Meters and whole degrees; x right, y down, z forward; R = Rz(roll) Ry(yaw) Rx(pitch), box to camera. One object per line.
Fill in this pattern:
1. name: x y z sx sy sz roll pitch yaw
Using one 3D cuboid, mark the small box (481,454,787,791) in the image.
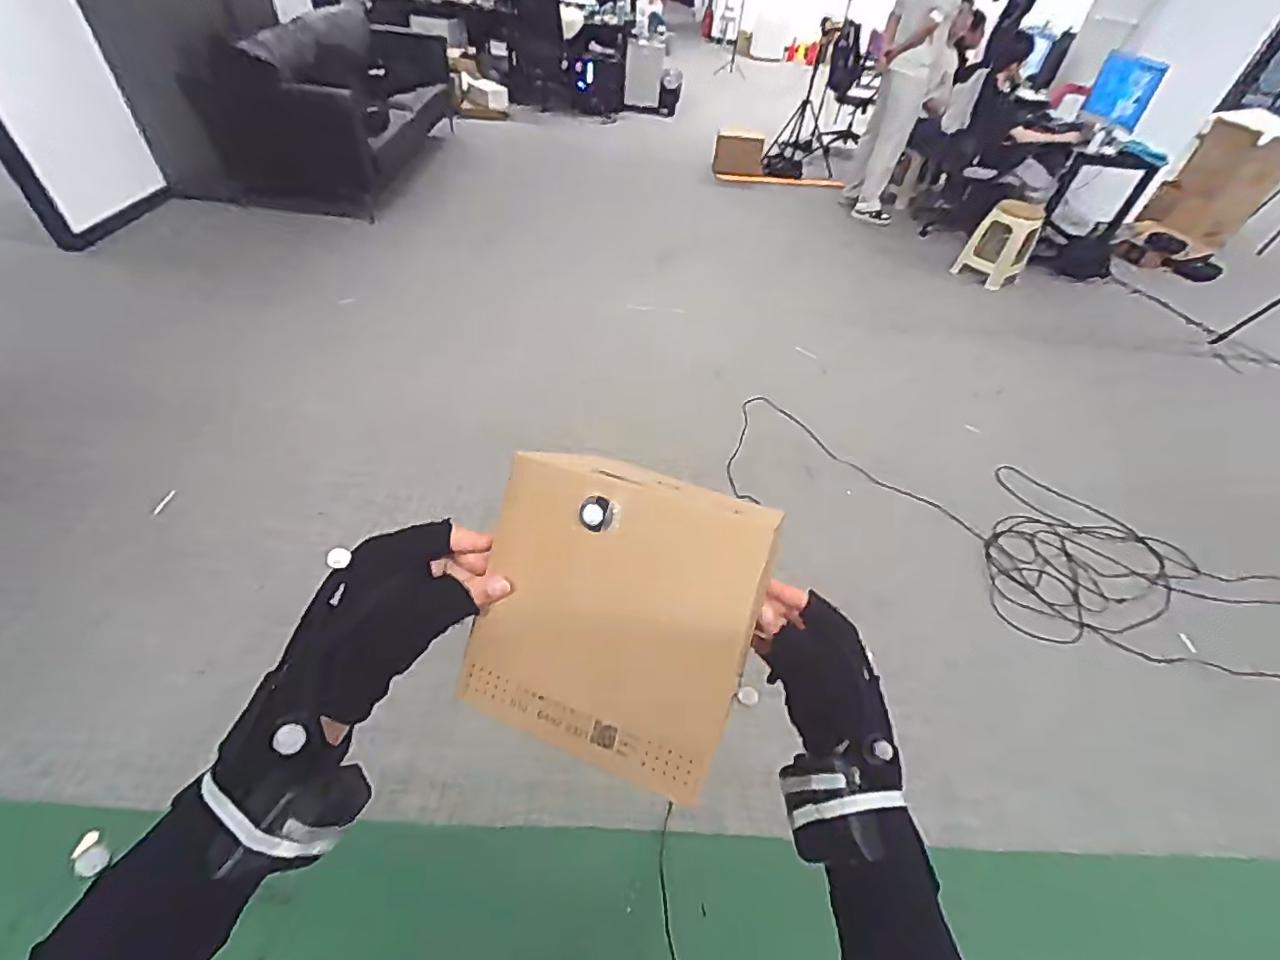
1. small box: 0.005 0.088 0.410 0.168 0.176 0.179 16 3 18
